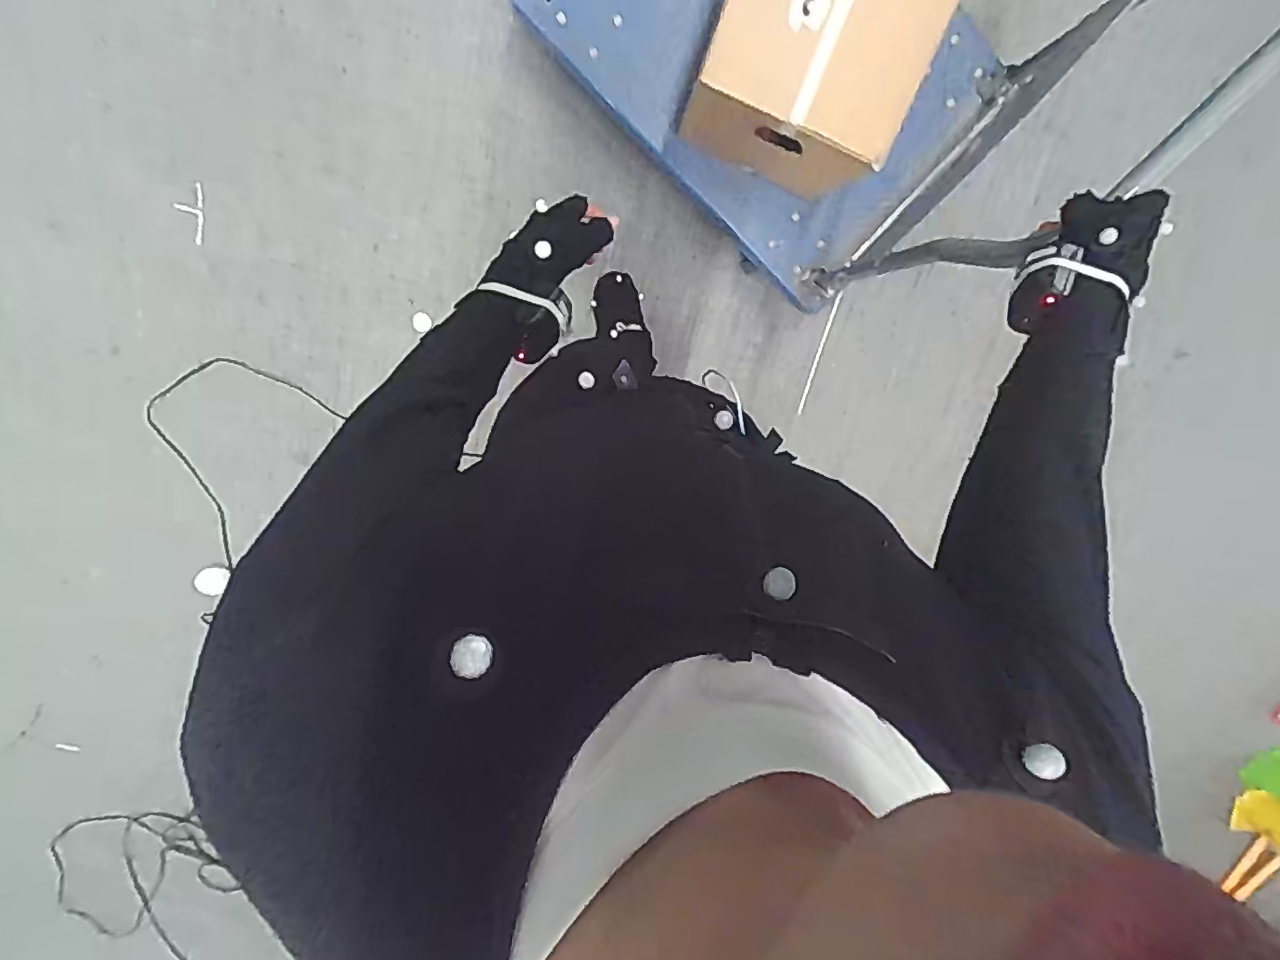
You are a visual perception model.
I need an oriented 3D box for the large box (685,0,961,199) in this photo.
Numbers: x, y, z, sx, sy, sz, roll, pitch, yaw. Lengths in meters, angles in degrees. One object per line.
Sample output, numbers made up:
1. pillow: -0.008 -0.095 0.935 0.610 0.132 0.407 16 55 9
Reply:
1. large box: 0.302 -0.758 0.909 0.320 0.320 0.408 19 108 -8
